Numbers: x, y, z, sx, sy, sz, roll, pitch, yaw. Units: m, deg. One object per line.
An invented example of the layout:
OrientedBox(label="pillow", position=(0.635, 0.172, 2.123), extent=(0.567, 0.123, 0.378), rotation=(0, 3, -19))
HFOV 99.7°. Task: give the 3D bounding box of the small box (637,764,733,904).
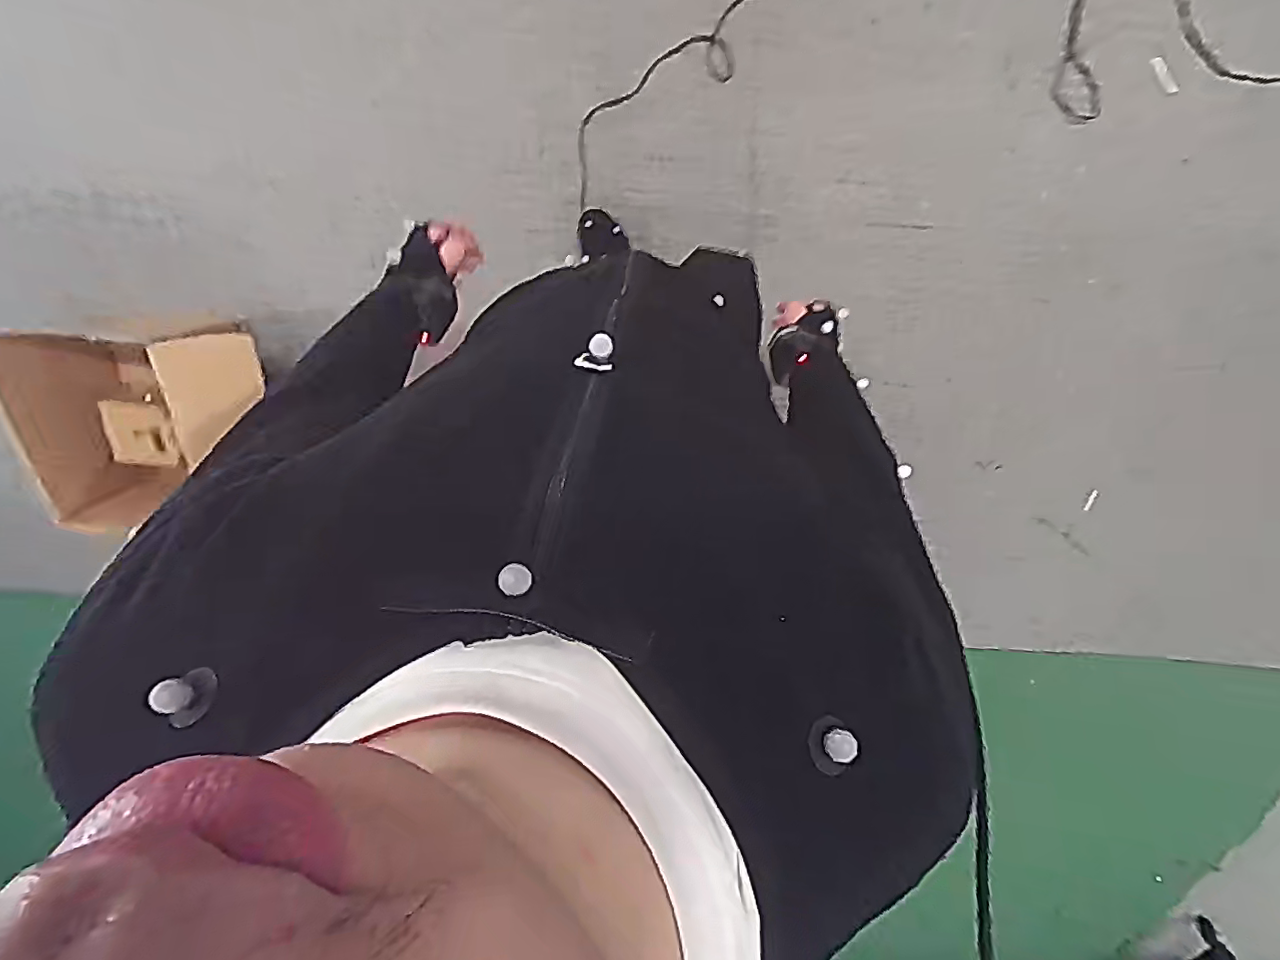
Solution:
OrientedBox(label="small box", position=(0.085, 0.710, 1.090), extent=(0.168, 0.176, 0.179), rotation=(5, 116, -1))
